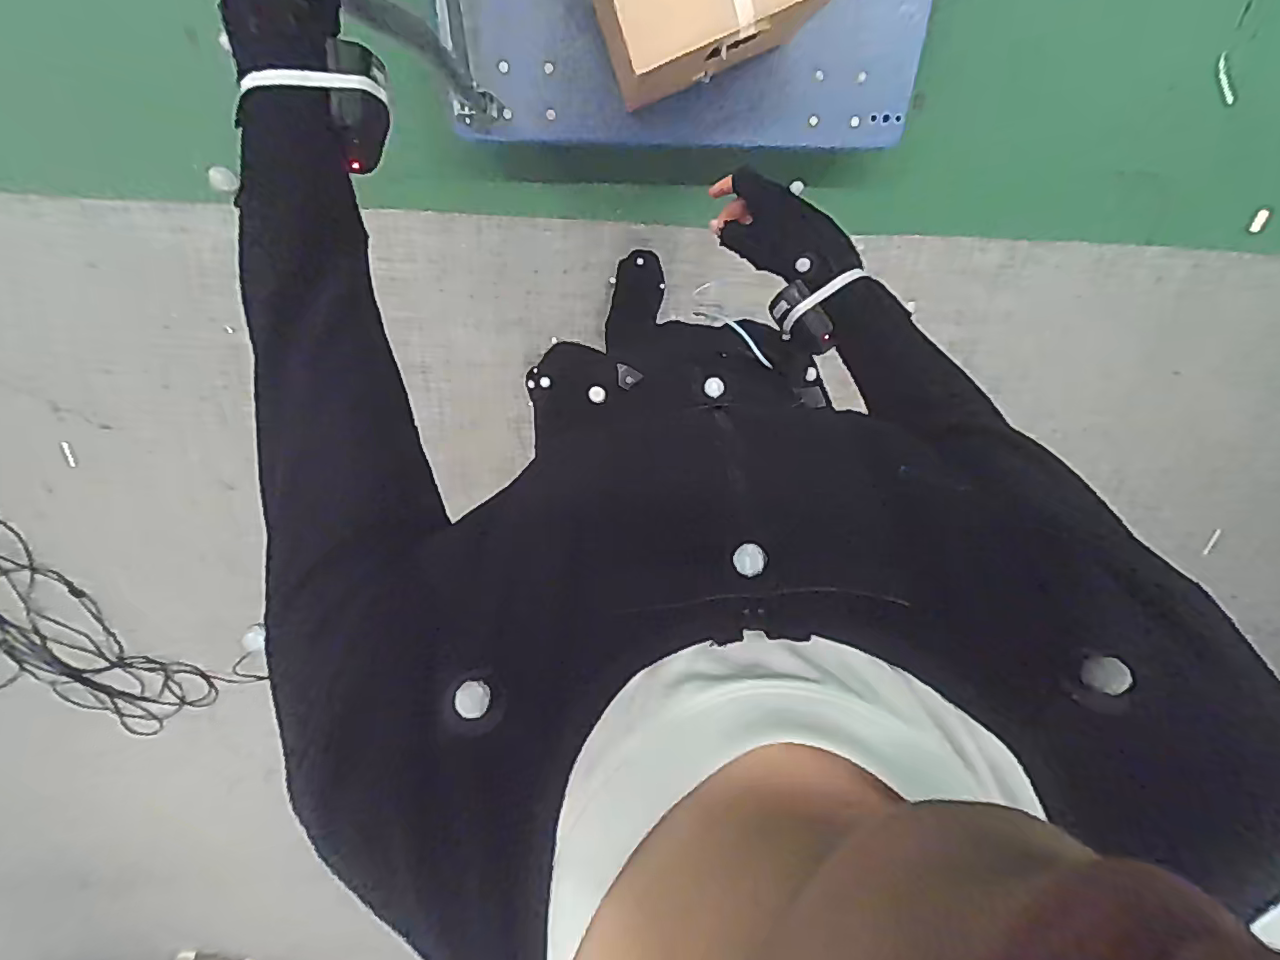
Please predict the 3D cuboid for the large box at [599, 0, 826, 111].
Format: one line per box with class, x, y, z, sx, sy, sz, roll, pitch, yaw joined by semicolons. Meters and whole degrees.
large box;0.063;-0.840;0.781;0.320;0.320;0.408;-20;115;7
